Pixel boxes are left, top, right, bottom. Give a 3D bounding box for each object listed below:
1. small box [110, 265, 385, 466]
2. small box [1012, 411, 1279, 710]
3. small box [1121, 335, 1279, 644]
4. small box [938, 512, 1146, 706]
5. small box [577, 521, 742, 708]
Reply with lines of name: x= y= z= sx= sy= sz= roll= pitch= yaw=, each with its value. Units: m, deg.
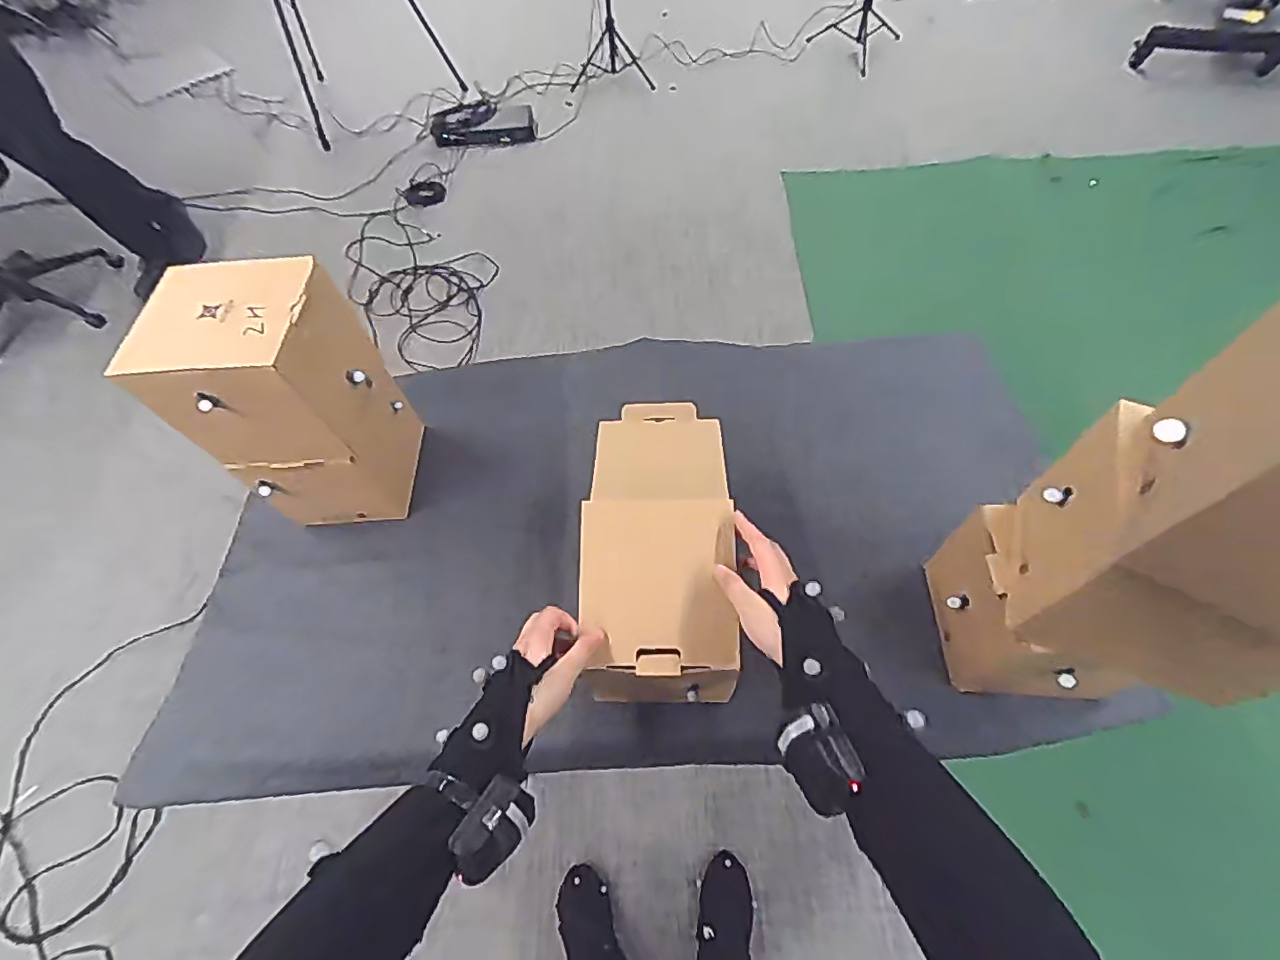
small box: x=-0.440 y=-0.128 z=0.643 sx=0.179 sy=0.176 sz=0.168 roll=-3 pitch=60 yaw=1
small box: x=0.456 y=0.074 z=0.463 sx=0.179 sy=0.176 sz=0.168 roll=20 pitch=60 yaw=15
small box: x=0.446 y=0.004 z=0.313 sx=0.179 sy=0.176 sz=0.168 roll=29 pitch=63 yaw=21
small box: x=0.462 y=0.150 z=0.609 sx=0.179 sy=0.176 sz=0.168 roll=1 pitch=57 yaw=5
small box: x=0.026 y=0.163 z=0.635 sx=0.168 sy=0.176 sz=0.179 roll=0 pitch=57 yaw=3
